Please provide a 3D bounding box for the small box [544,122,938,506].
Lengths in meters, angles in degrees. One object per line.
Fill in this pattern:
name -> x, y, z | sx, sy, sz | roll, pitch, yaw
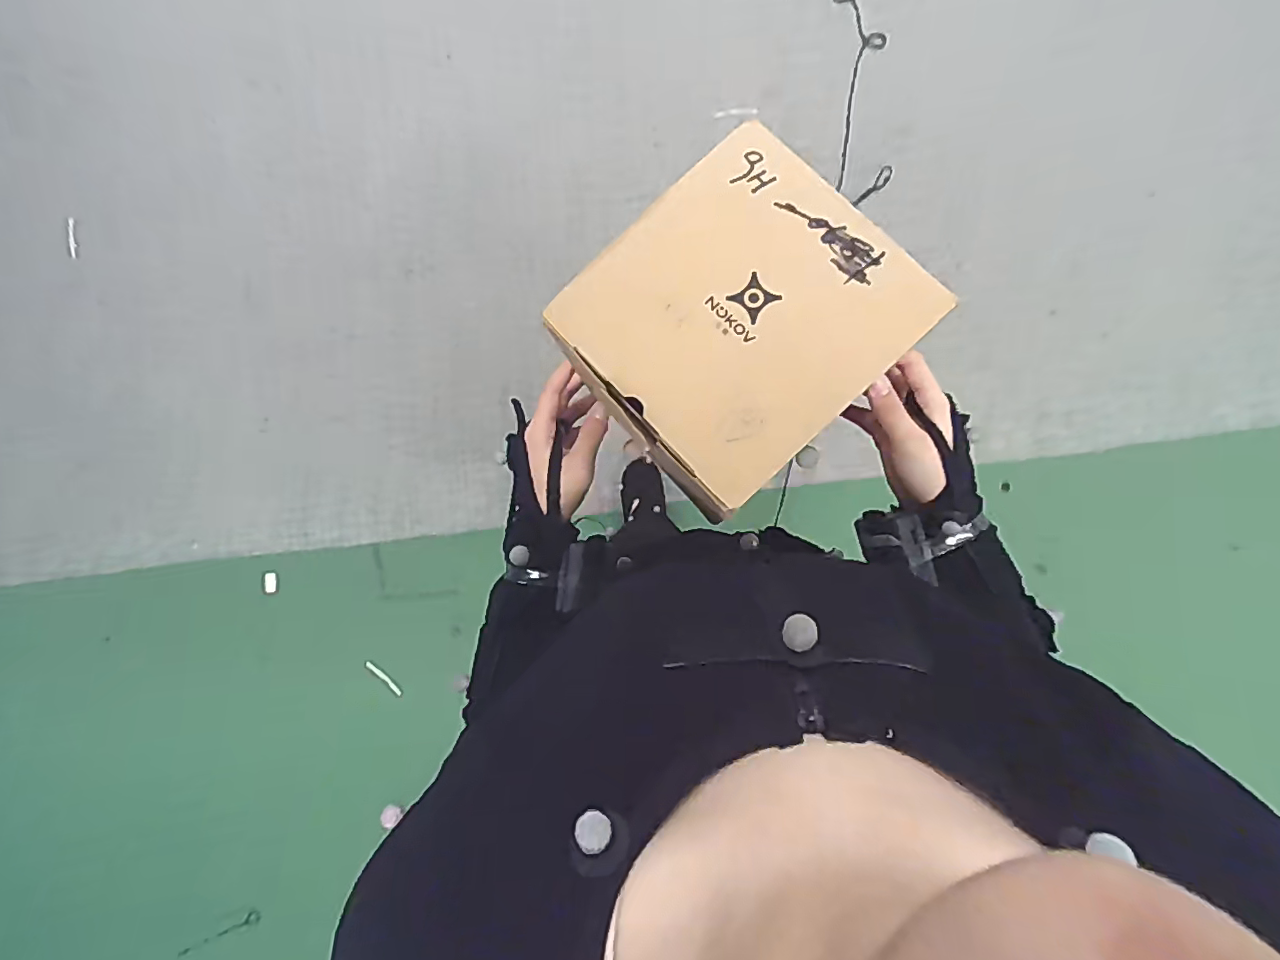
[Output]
small box -> 0.064, -0.095, 0.398 | 0.179, 0.176, 0.168 | -43, 82, 0
